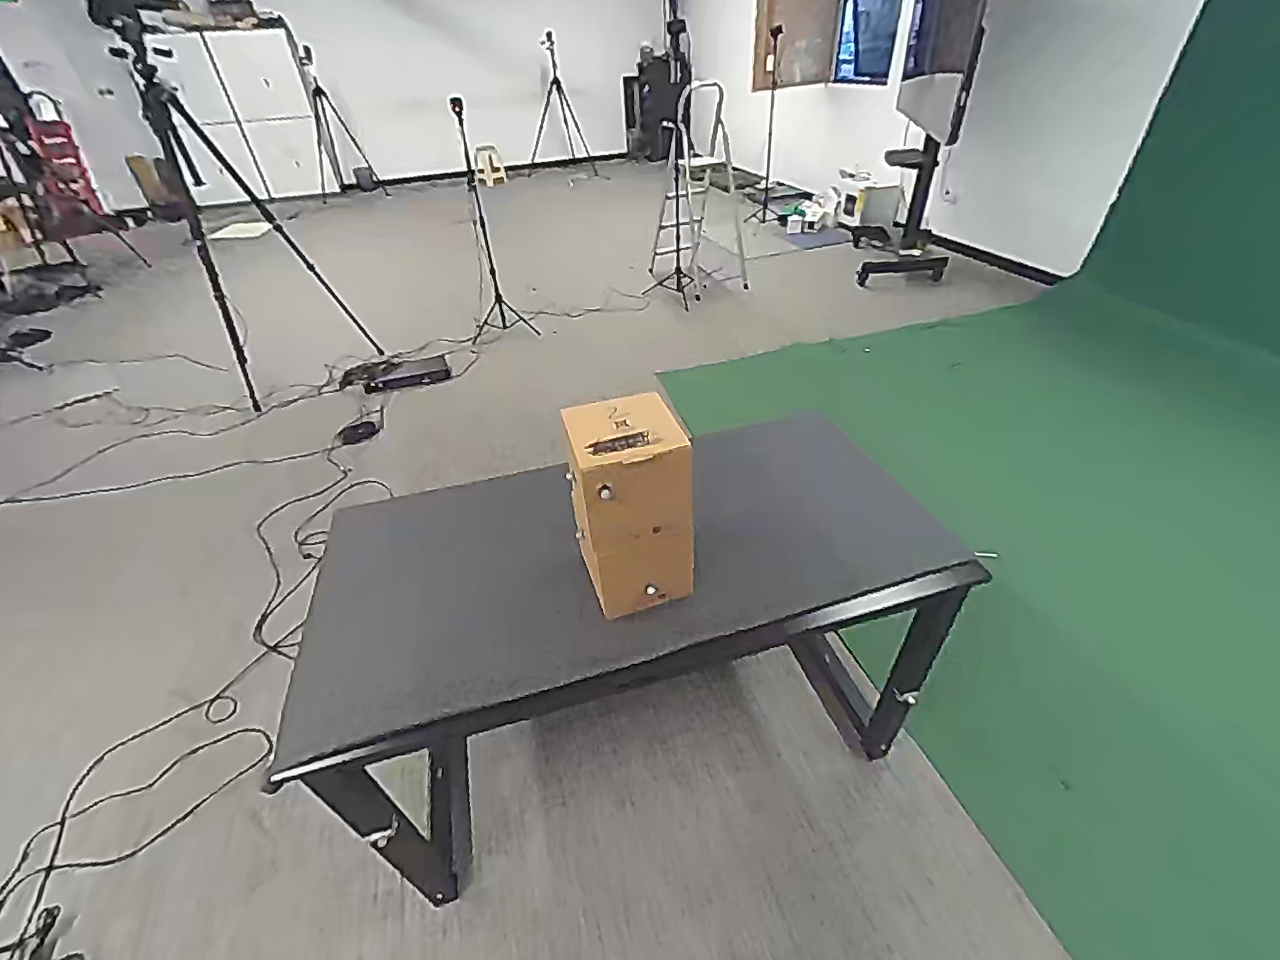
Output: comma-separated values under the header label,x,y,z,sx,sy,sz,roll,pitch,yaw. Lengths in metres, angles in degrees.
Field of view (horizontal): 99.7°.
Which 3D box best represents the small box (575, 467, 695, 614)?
label,x,y,z,sx,sy,sz,roll,pitch,yaw
small box,-0.011,0.106,0.967,0.168,0.176,0.179,-15,39,-13
